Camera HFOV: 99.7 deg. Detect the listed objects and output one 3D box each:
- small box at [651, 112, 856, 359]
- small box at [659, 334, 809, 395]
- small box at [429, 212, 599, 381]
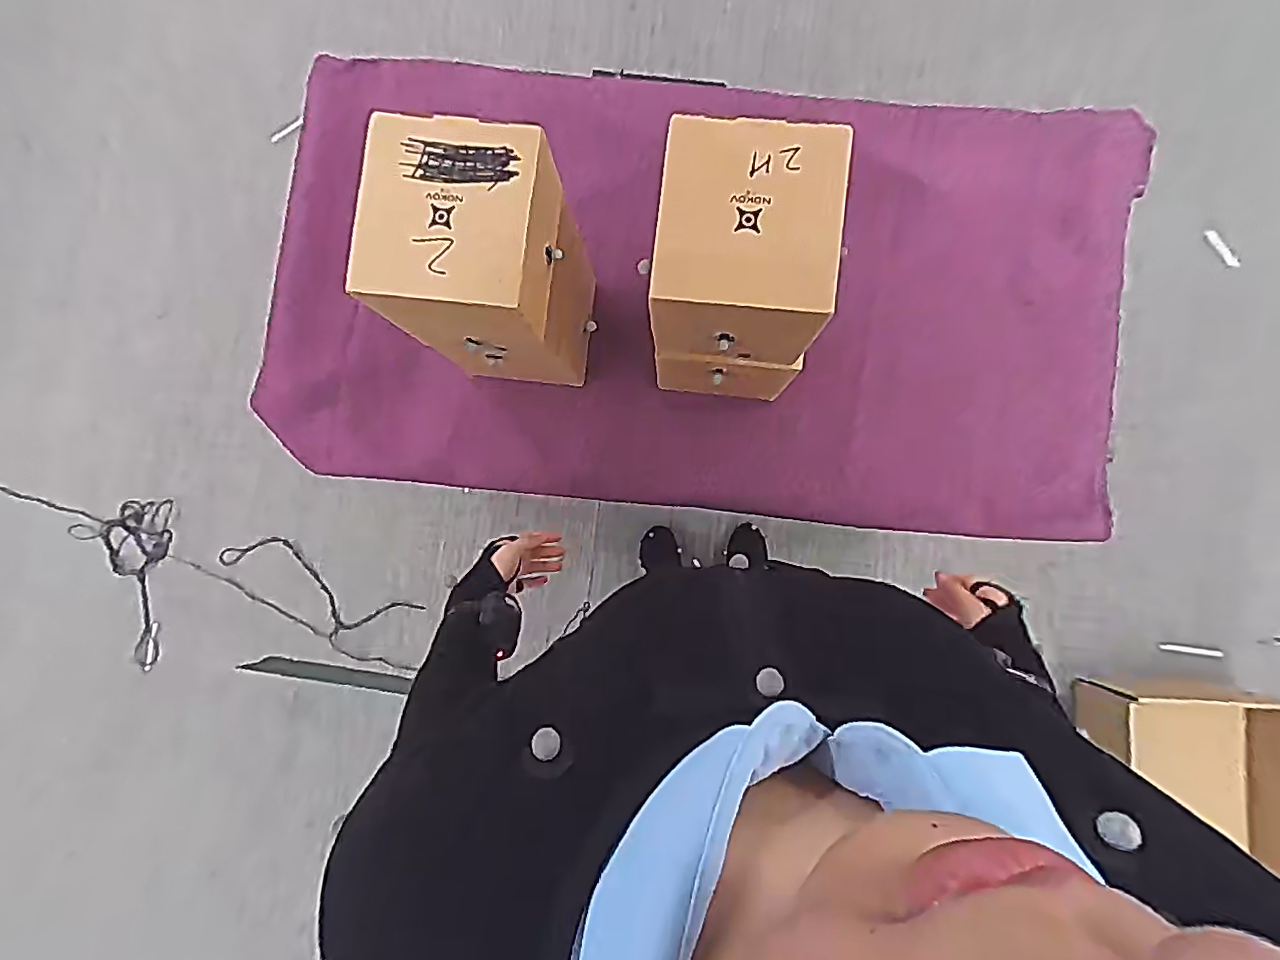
[{"bbox_3d":[0.107,-0.236,0.562,0.168,0.176,0.179,7,87,4],"label":"small box"},{"bbox_3d":[0.124,-0.216,0.725,0.179,0.176,0.168,7,87,5],"label":"small box"},{"bbox_3d":[-0.161,-0.240,0.742,0.179,0.176,0.168,6,87,3],"label":"small box"}]
